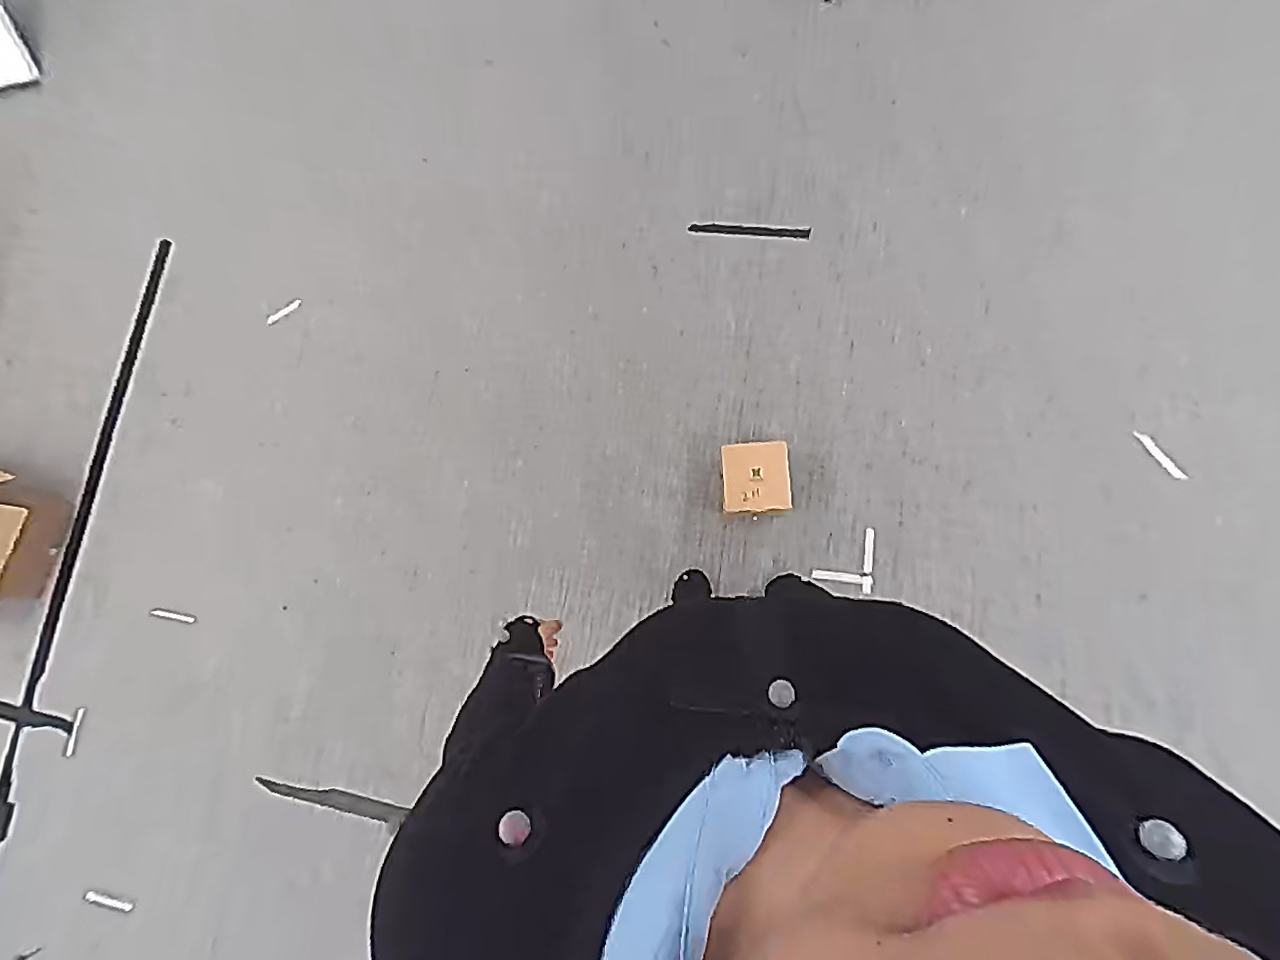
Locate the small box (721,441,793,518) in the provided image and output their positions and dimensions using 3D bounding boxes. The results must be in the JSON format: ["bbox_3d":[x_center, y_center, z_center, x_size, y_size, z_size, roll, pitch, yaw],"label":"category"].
[{"bbox_3d":[0.304,0.004,1.436,0.168,0.176,0.179,-3,81,7],"label":"small box"}]
